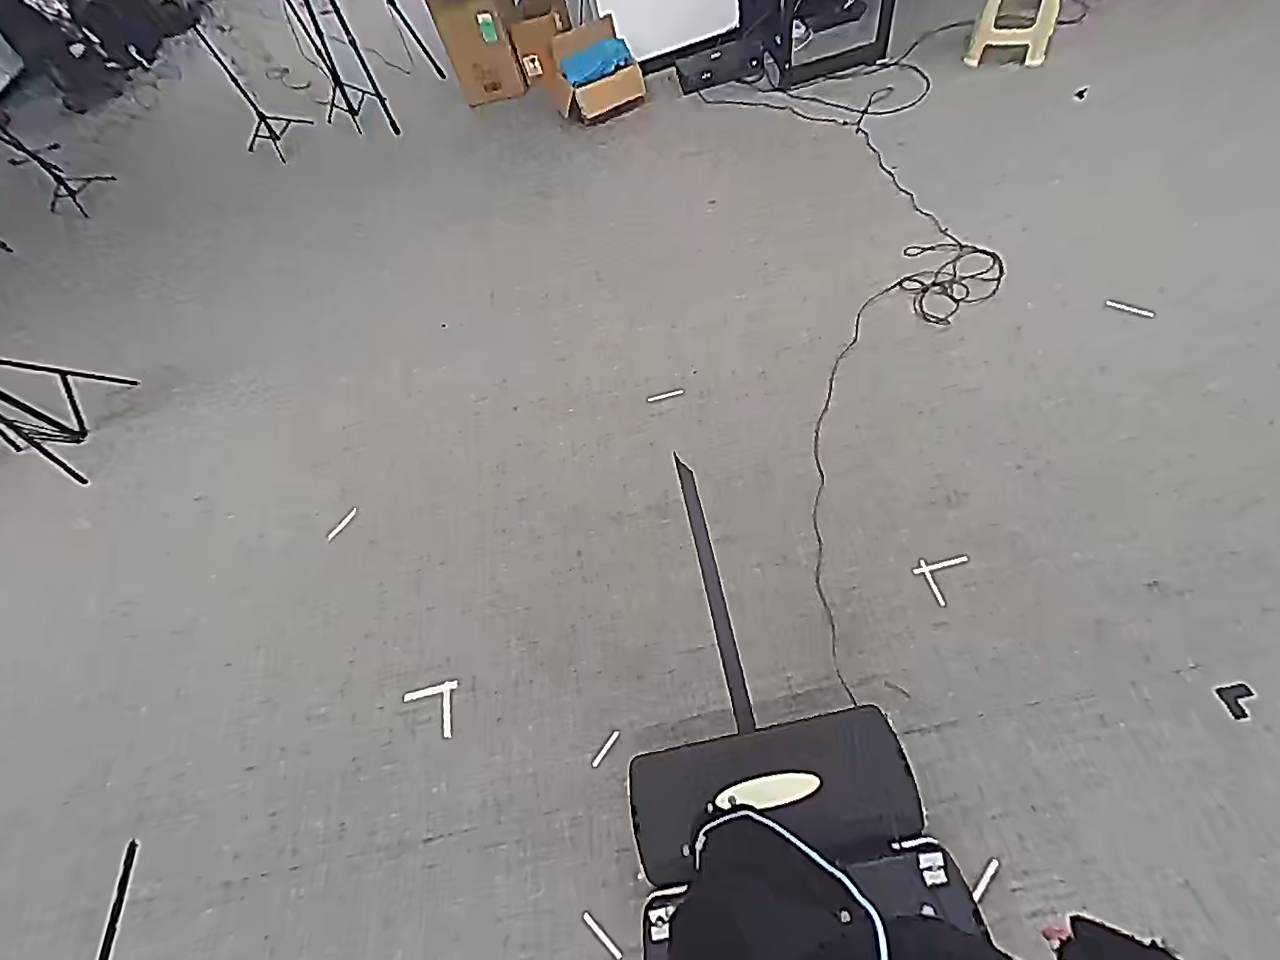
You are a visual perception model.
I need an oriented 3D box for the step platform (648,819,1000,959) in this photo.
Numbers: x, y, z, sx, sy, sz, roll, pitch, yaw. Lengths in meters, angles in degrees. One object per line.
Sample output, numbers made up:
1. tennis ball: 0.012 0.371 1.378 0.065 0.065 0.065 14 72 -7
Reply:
1. step platform: 0.360 0.947 1.139 0.684 0.204 0.286 -16 57 5
